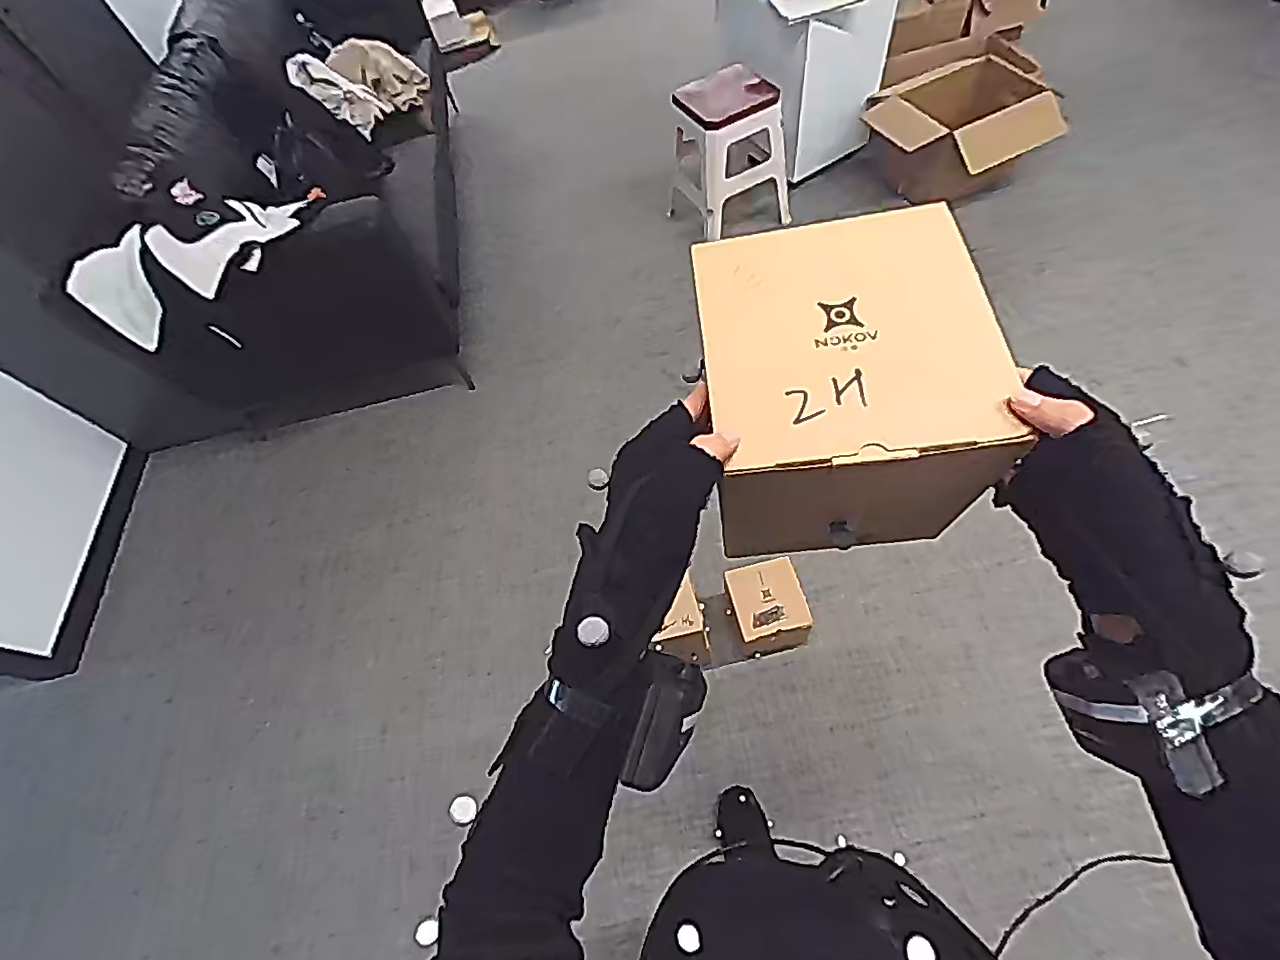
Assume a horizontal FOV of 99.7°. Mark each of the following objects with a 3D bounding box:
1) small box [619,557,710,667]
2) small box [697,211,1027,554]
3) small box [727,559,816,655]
[{"bbox_3d":[0.056,0.299,1.214,0.168,0.176,0.179,-14,57,2],"label":"small box"},{"bbox_3d":[0.134,-0.058,0.401,0.168,0.176,0.179,-7,65,8],"label":"small box"},{"bbox_3d":[0.320,0.323,1.342,0.168,0.176,0.179,-14,57,1],"label":"small box"}]
